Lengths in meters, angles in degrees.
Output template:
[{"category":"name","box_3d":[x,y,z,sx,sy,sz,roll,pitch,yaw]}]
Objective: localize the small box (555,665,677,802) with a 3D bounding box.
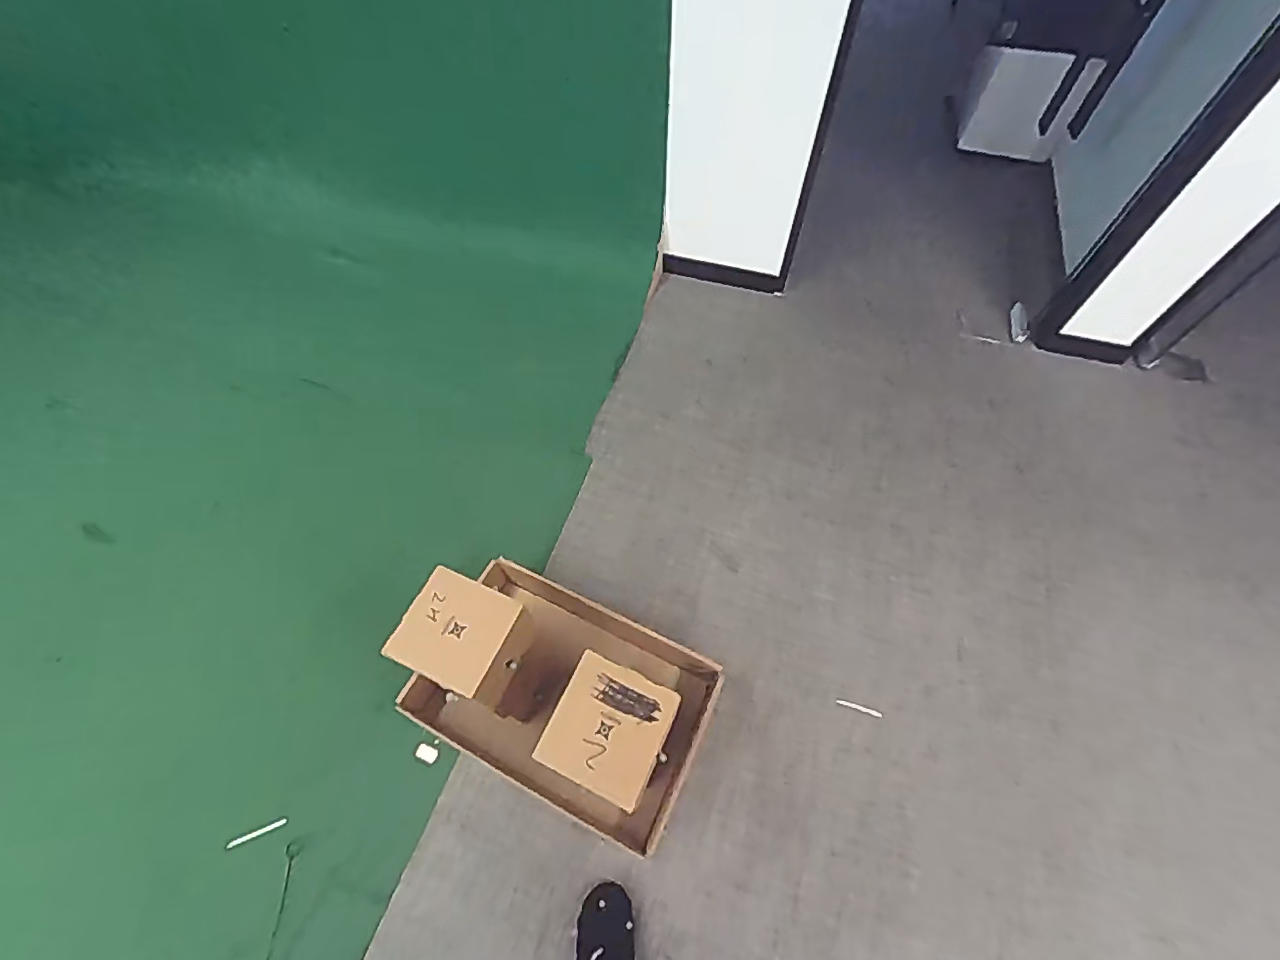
[{"category":"small box","box_3d":[-0.038,0.484,1.026,0.168,0.176,0.179,21,61,13]}]

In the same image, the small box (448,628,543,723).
[{"category":"small box","box_3d":[-0.312,0.368,1.100,0.168,0.176,0.179,23,63,13]}]

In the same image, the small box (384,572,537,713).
[{"category":"small box","box_3d":[-0.301,0.293,0.954,0.179,0.176,0.168,22,62,12]}]
